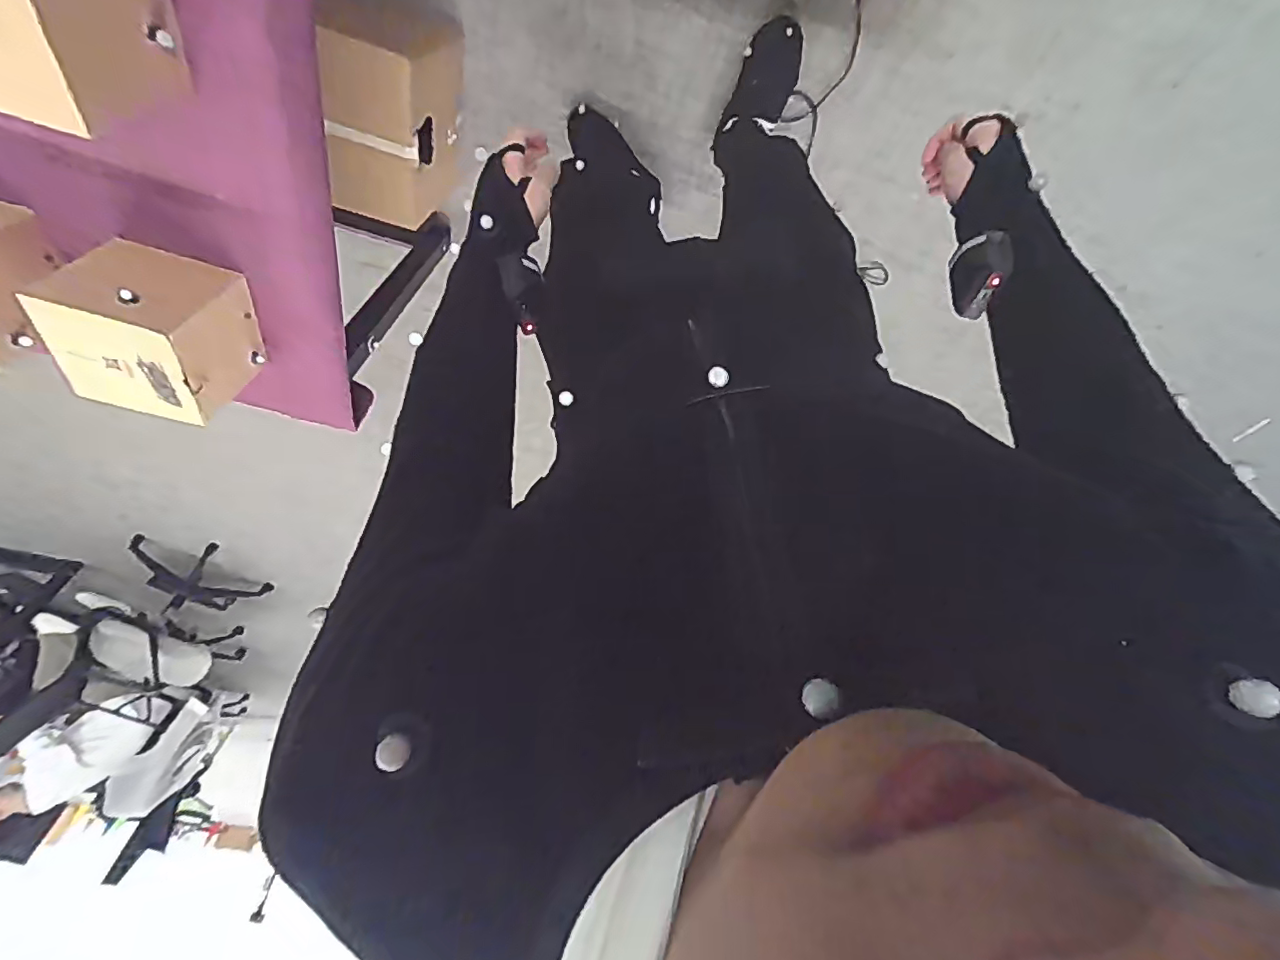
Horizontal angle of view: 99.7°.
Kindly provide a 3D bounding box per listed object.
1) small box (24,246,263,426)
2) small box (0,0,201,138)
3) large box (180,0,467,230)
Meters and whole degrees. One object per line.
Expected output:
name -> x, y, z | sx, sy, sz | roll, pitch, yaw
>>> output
small box -> -0.682, -0.210, 0.780 | 0.179, 0.176, 0.168 | 16, 135, -7
small box -> -0.577, -0.461, 0.509 | 0.179, 0.176, 0.168 | 15, 137, -8
large box -> -0.606, -0.786, 1.131 | 0.408, 0.320, 0.320 | 15, 135, -7
